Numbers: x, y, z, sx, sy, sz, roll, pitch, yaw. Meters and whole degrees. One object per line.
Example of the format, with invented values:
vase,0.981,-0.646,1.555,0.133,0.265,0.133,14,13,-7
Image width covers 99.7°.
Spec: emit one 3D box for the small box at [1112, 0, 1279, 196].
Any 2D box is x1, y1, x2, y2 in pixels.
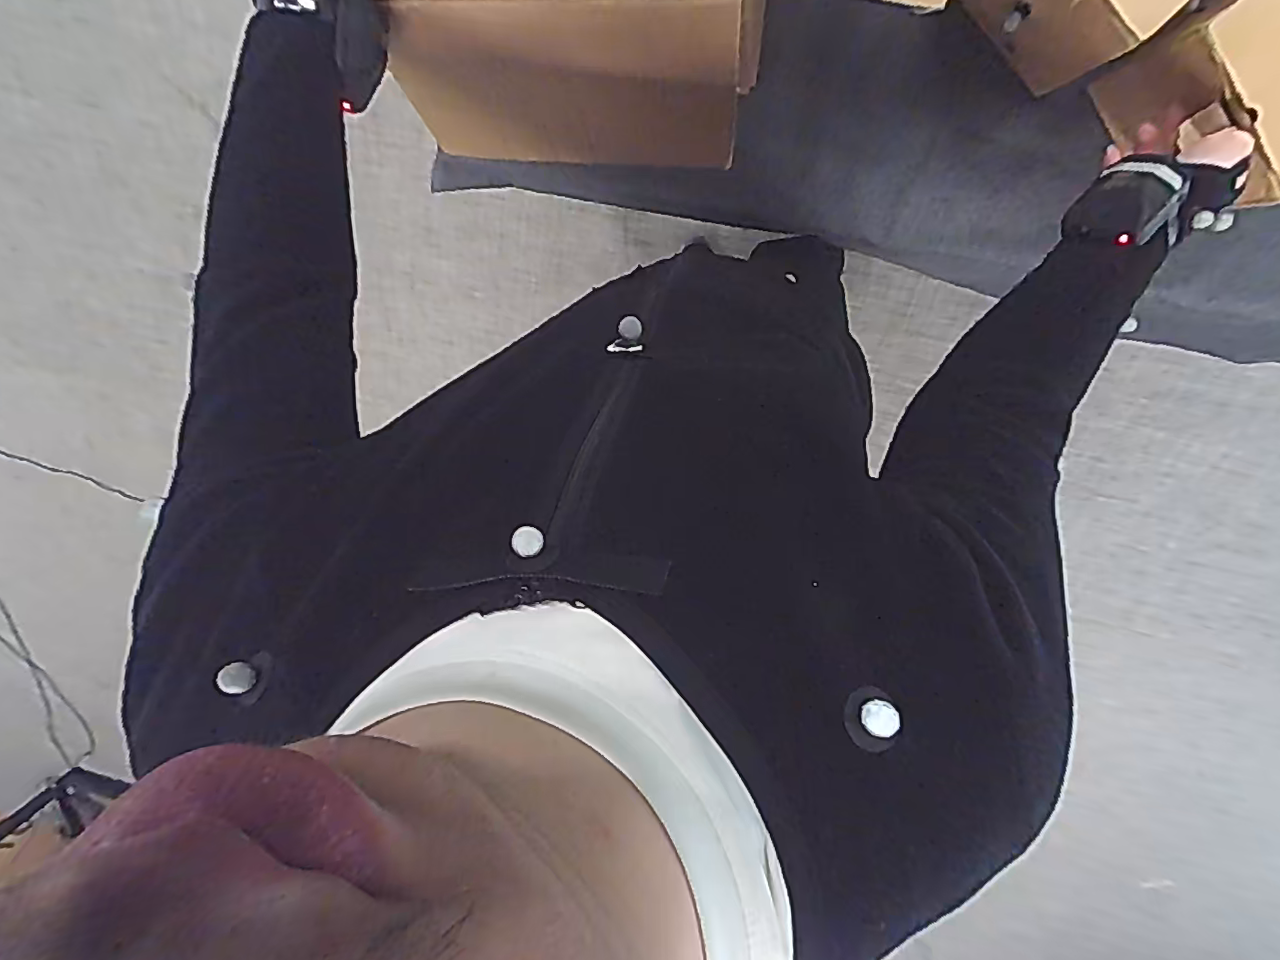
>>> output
small box,0.570,-0.377,0.471,0.179,0.176,0.168,-37,103,23
